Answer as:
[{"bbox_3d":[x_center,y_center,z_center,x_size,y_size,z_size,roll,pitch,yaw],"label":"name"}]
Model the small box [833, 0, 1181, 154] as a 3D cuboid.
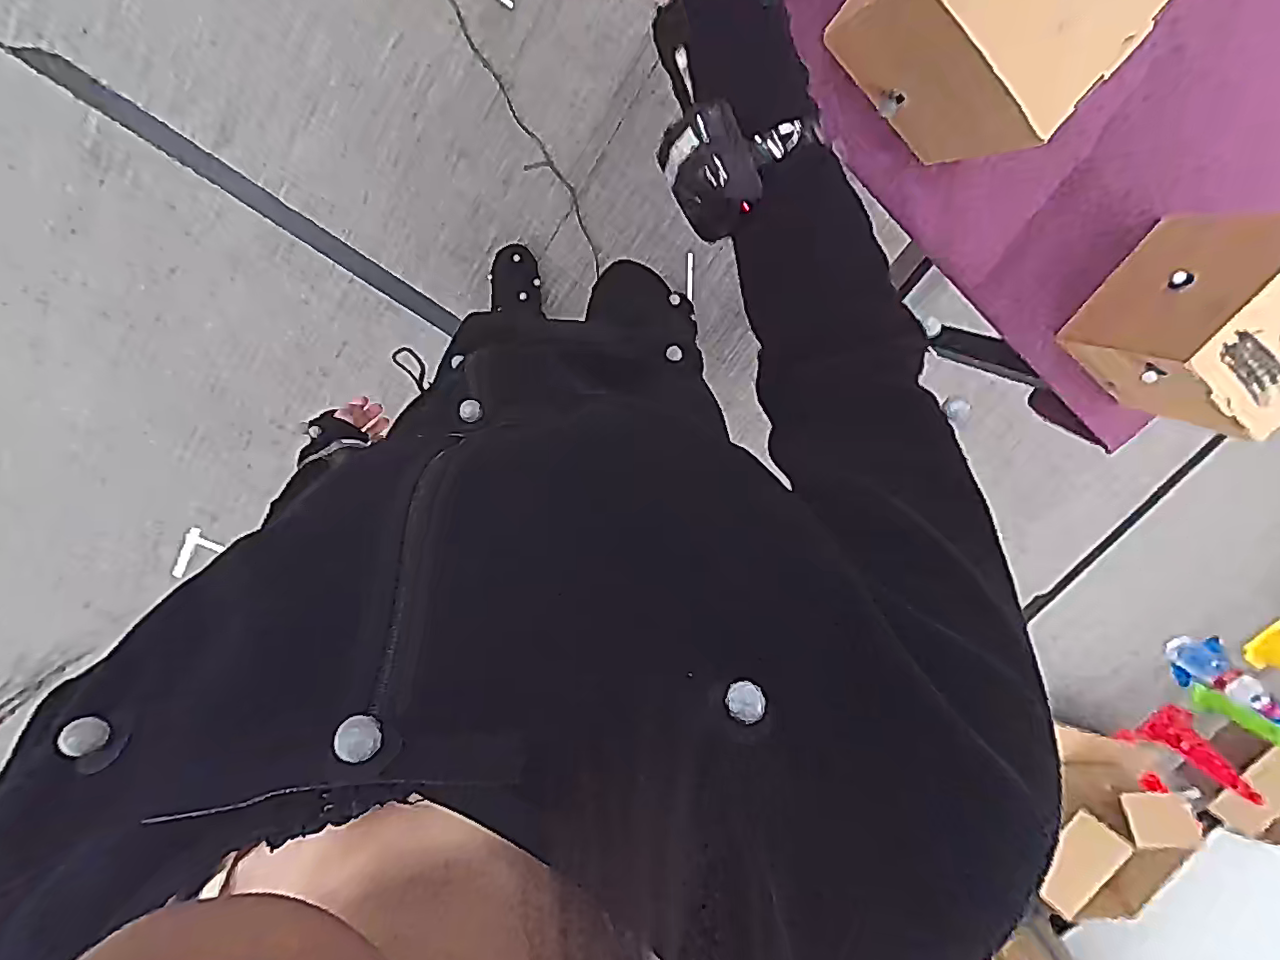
[{"bbox_3d":[0.308,-0.412,0.465,0.179,0.176,0.168,33,107,-21],"label":"small box"}]
